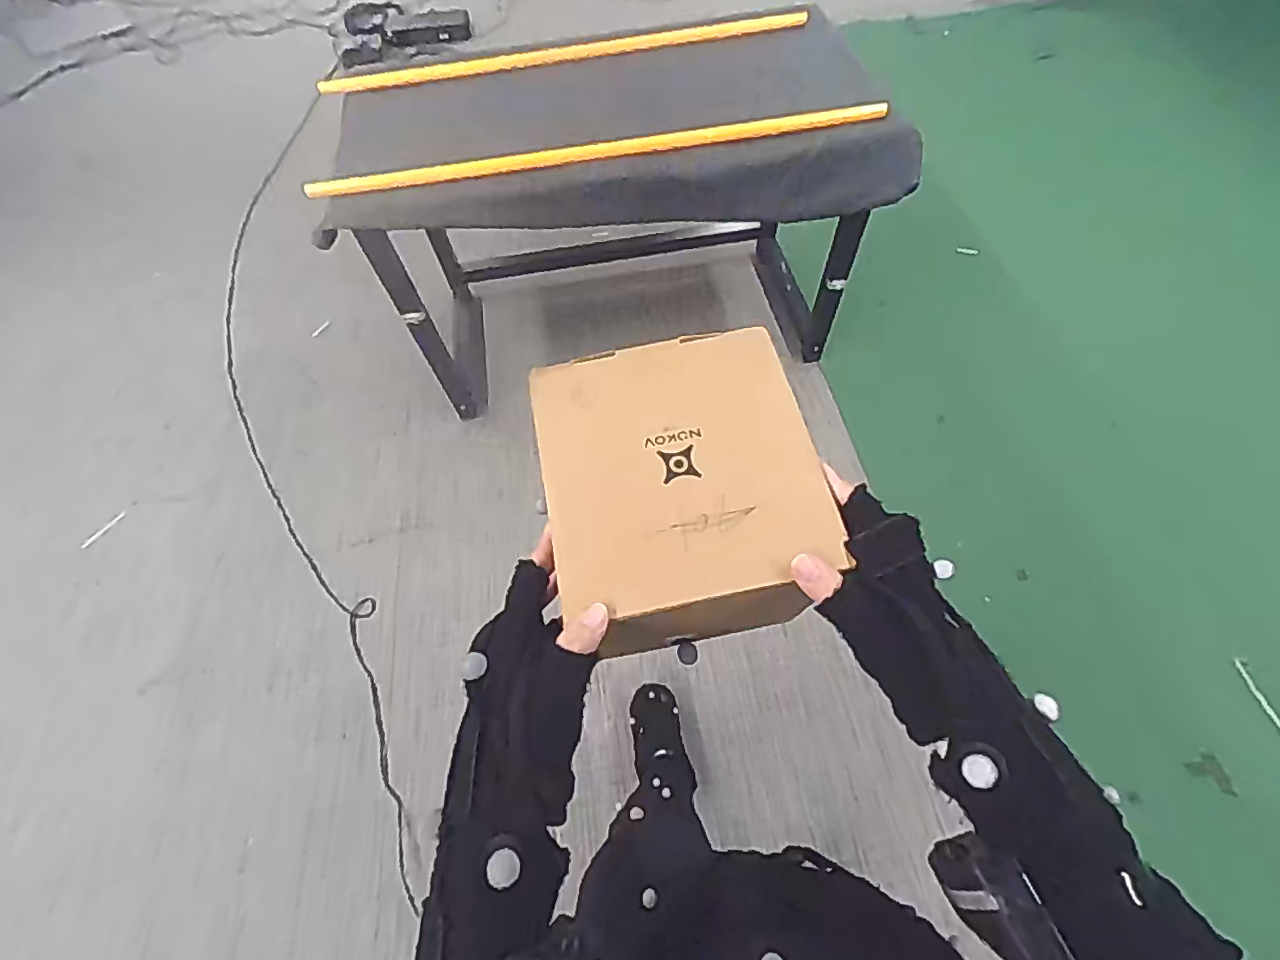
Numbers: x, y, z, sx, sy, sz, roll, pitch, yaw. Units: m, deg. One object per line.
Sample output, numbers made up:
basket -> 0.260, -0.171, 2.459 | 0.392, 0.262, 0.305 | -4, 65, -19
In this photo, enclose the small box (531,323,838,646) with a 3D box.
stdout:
small box -> 0.021, 0.014, 0.411 | 0.168, 0.176, 0.179 | -11, 66, -3
